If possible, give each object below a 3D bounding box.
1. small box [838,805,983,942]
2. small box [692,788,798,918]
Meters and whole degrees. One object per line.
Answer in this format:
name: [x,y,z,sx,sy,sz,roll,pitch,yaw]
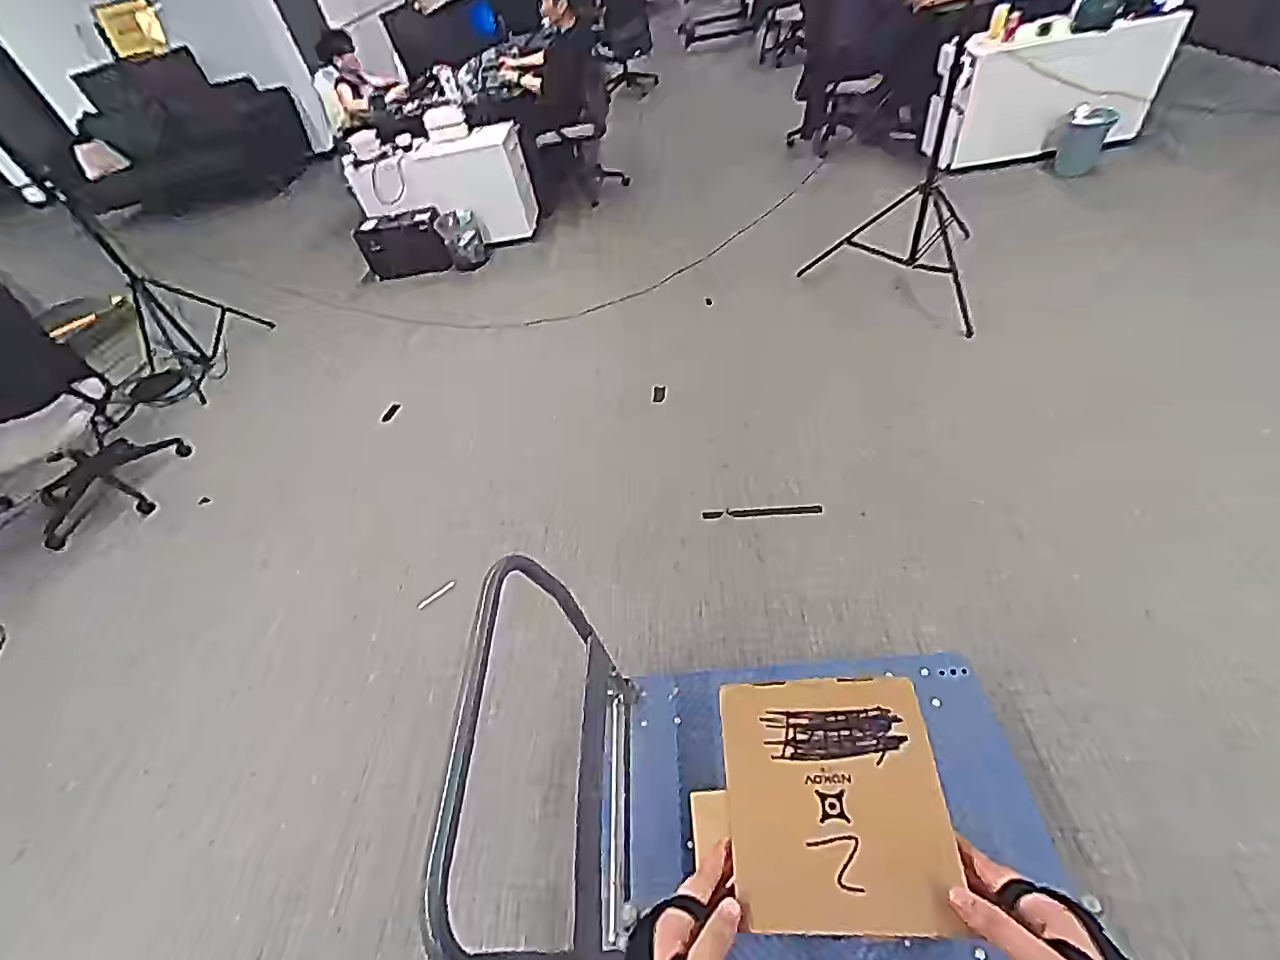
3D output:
small box: [0.457,0.693,0.950,0.168,0.176,0.179,-7,47,6]
small box: [0.190,0.695,1.006,0.168,0.176,0.179,-8,48,6]
